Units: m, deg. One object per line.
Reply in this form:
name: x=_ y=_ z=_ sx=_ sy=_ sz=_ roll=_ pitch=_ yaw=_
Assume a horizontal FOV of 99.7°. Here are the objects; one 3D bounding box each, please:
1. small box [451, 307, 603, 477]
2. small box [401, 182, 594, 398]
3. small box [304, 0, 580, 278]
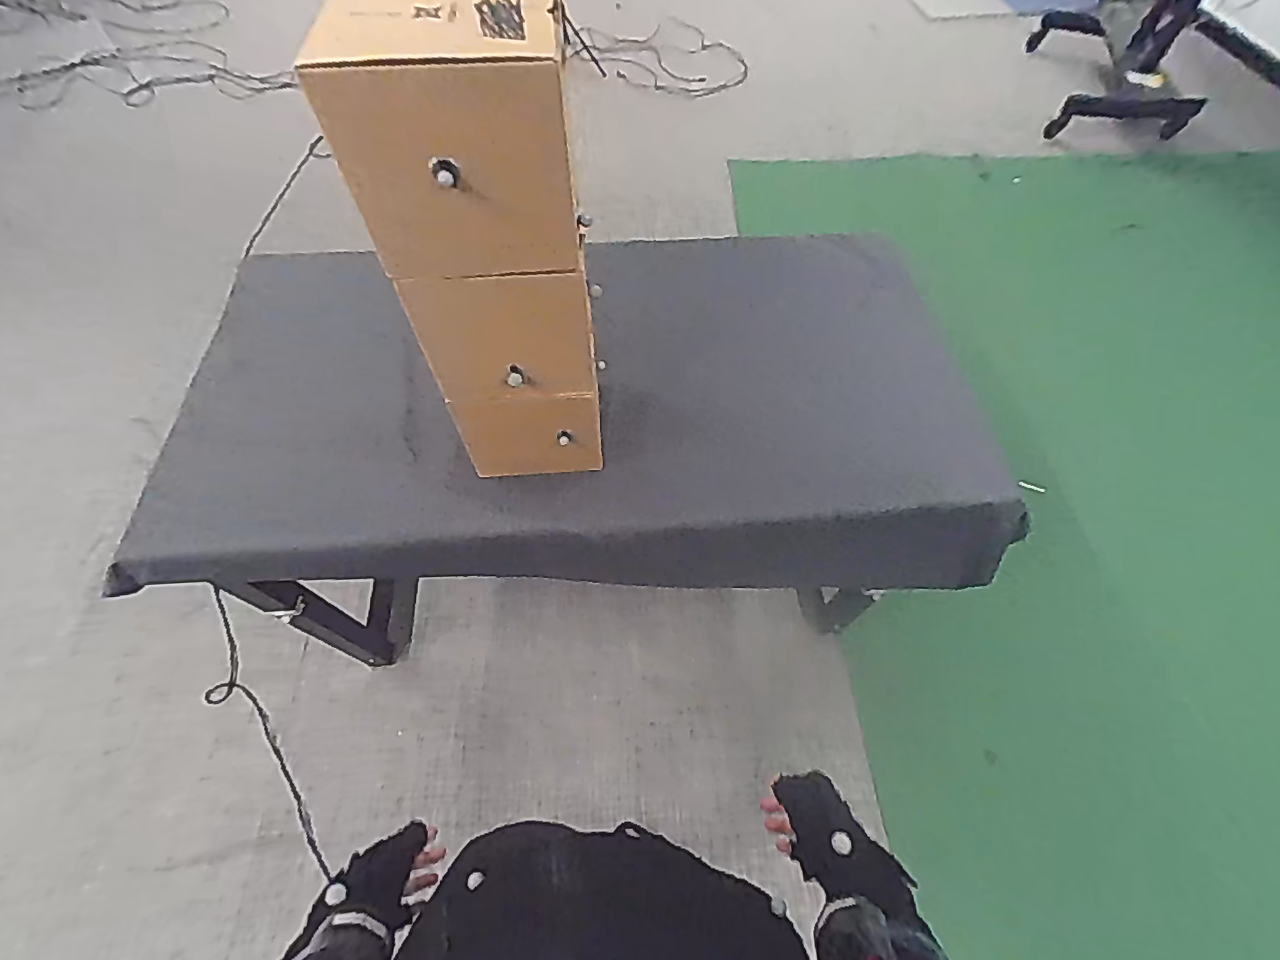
small box: x=-0.142 y=-0.119 z=0.747 sx=0.179 sy=0.176 sz=0.168 roll=-5 pitch=58 yaw=-2
small box: x=-0.143 y=-0.209 z=0.611 sx=0.179 sy=0.176 sz=0.168 roll=-4 pitch=58 yaw=-4
small box: x=-0.145 y=-0.298 z=0.472 sx=0.179 sy=0.176 sz=0.168 roll=-5 pitch=58 yaw=-2
